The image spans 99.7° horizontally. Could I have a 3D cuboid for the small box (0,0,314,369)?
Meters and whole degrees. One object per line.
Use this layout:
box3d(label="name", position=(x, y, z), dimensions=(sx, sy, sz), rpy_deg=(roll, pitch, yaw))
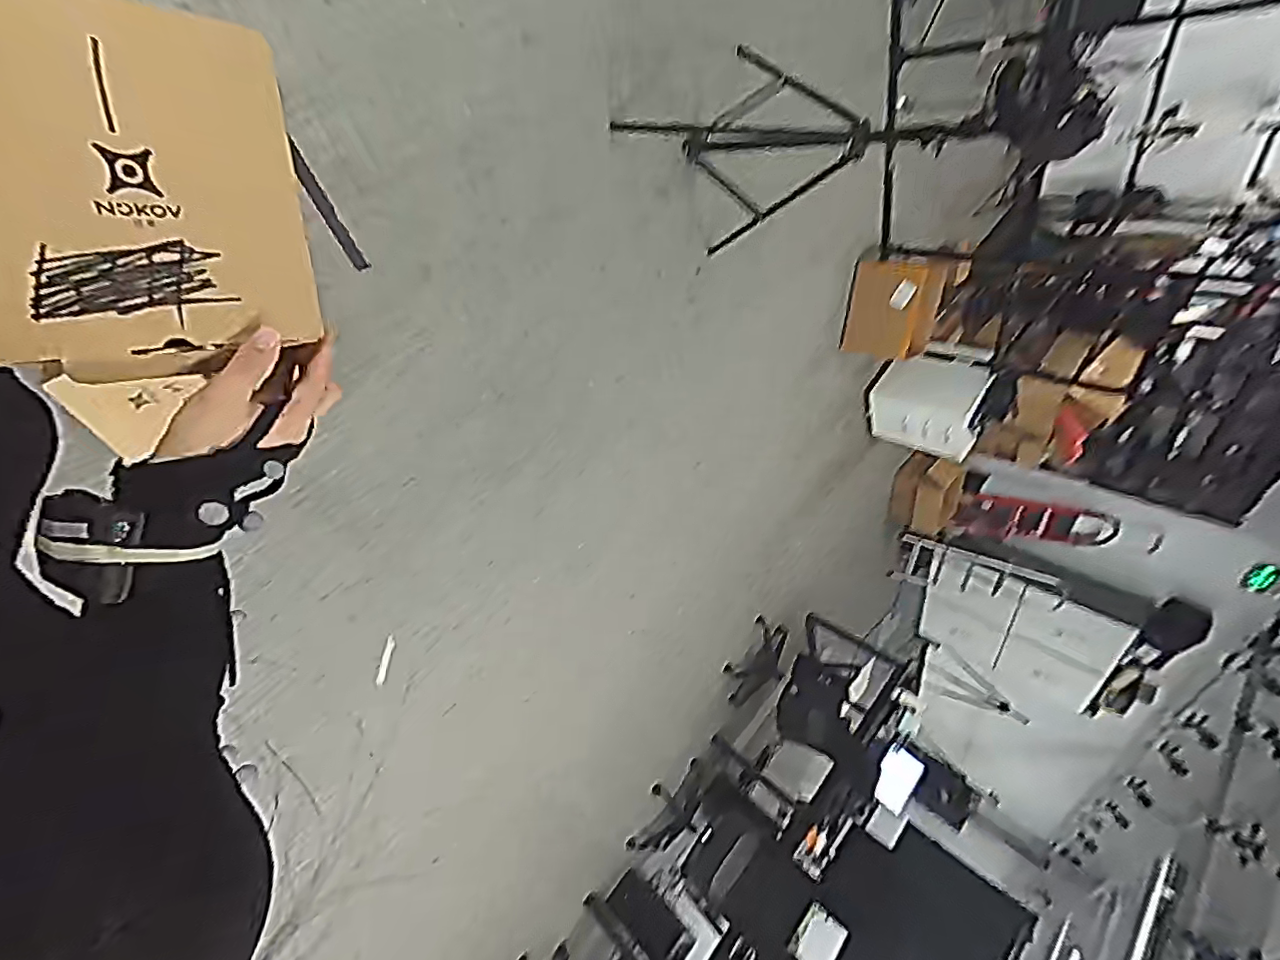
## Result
box3d(label="small box", position=(-0.336, -0.179, 0.340), dimensions=(0.168, 0.176, 0.179), rpy_deg=(-21, 124, -44))
